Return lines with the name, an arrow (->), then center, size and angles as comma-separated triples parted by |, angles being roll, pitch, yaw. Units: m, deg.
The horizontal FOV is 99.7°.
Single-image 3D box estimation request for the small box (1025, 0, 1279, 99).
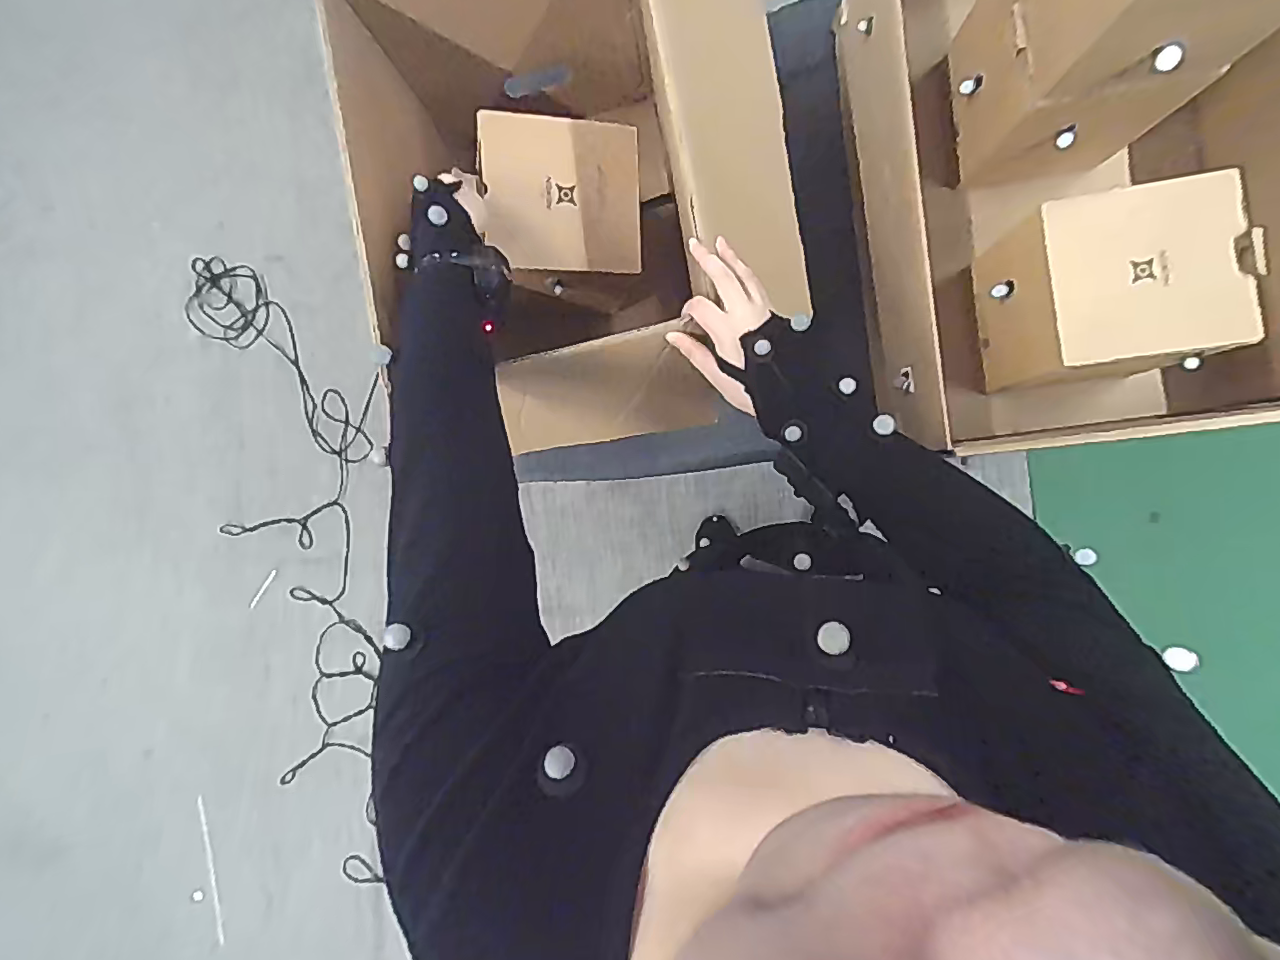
small box -> 0.443, -0.459, 0.437 | 0.168, 0.176, 0.179 | -6, 93, 6
